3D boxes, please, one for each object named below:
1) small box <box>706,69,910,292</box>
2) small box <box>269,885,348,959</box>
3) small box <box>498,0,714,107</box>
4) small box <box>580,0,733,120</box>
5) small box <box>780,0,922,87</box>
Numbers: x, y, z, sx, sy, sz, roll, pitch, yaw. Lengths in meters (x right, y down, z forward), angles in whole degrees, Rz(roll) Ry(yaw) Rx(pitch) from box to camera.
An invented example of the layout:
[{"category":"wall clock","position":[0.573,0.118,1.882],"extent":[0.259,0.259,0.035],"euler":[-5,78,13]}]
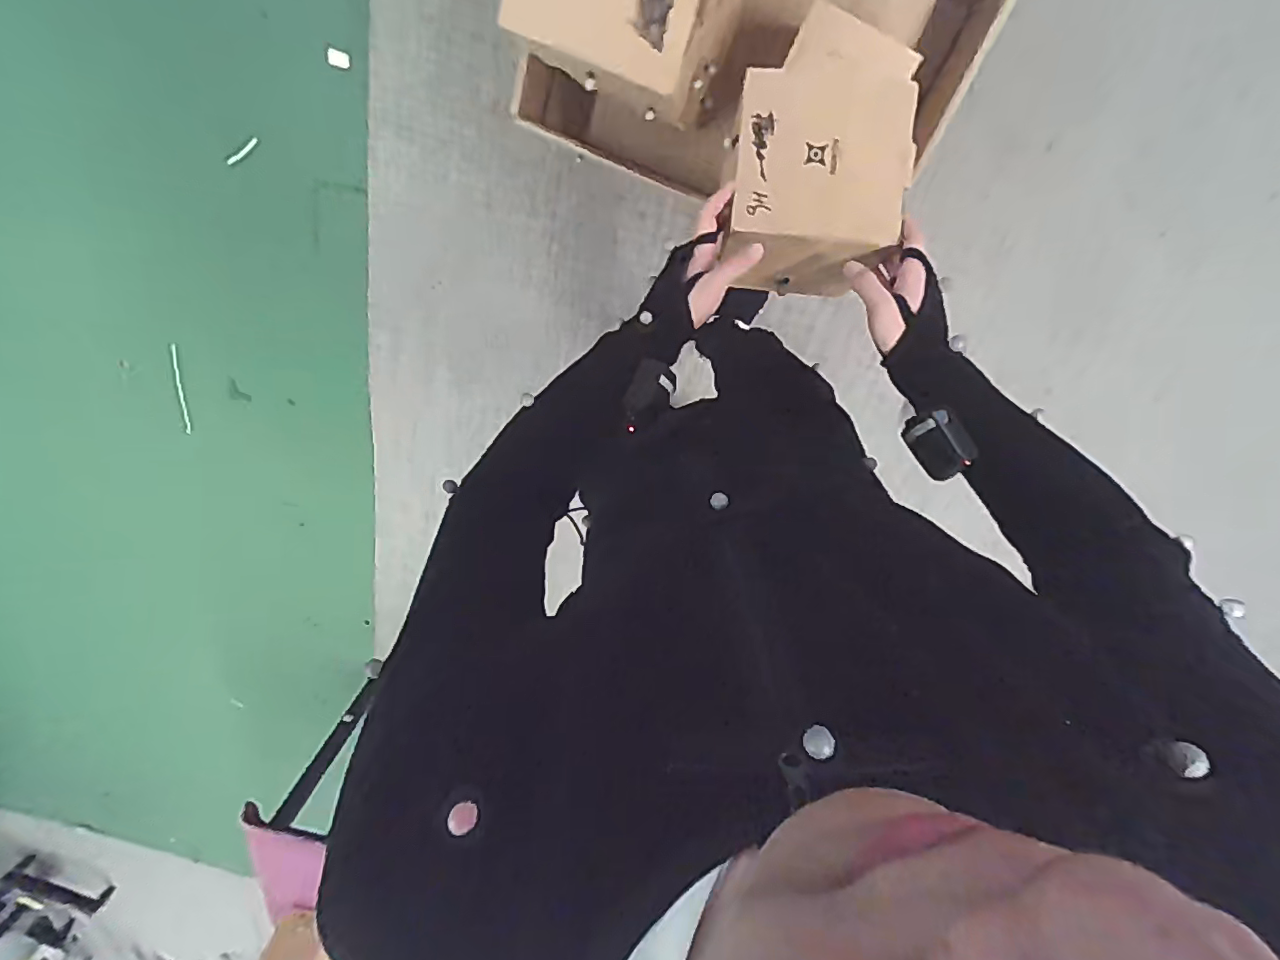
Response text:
[{"category":"small box","position":[0.180,-0.329,0.629],"extent":[0.179,0.176,0.168],"euler":[7,92,1]},{"category":"small box","position":[-1.129,1.541,1.859],"extent":[0.168,0.176,0.179],"euler":[12,119,-1]},{"category":"small box","position":[-0.016,-0.498,0.540],"extent":[0.179,0.176,0.168],"euler":[21,120,-2]},{"category":"small box","position":[0.009,-0.581,0.681],"extent":[0.179,0.176,0.168],"euler":[22,120,-5]},{"category":"small box","position":[0.283,-0.576,0.823],"extent":[0.168,0.176,0.179],"euler":[25,120,-5]}]
